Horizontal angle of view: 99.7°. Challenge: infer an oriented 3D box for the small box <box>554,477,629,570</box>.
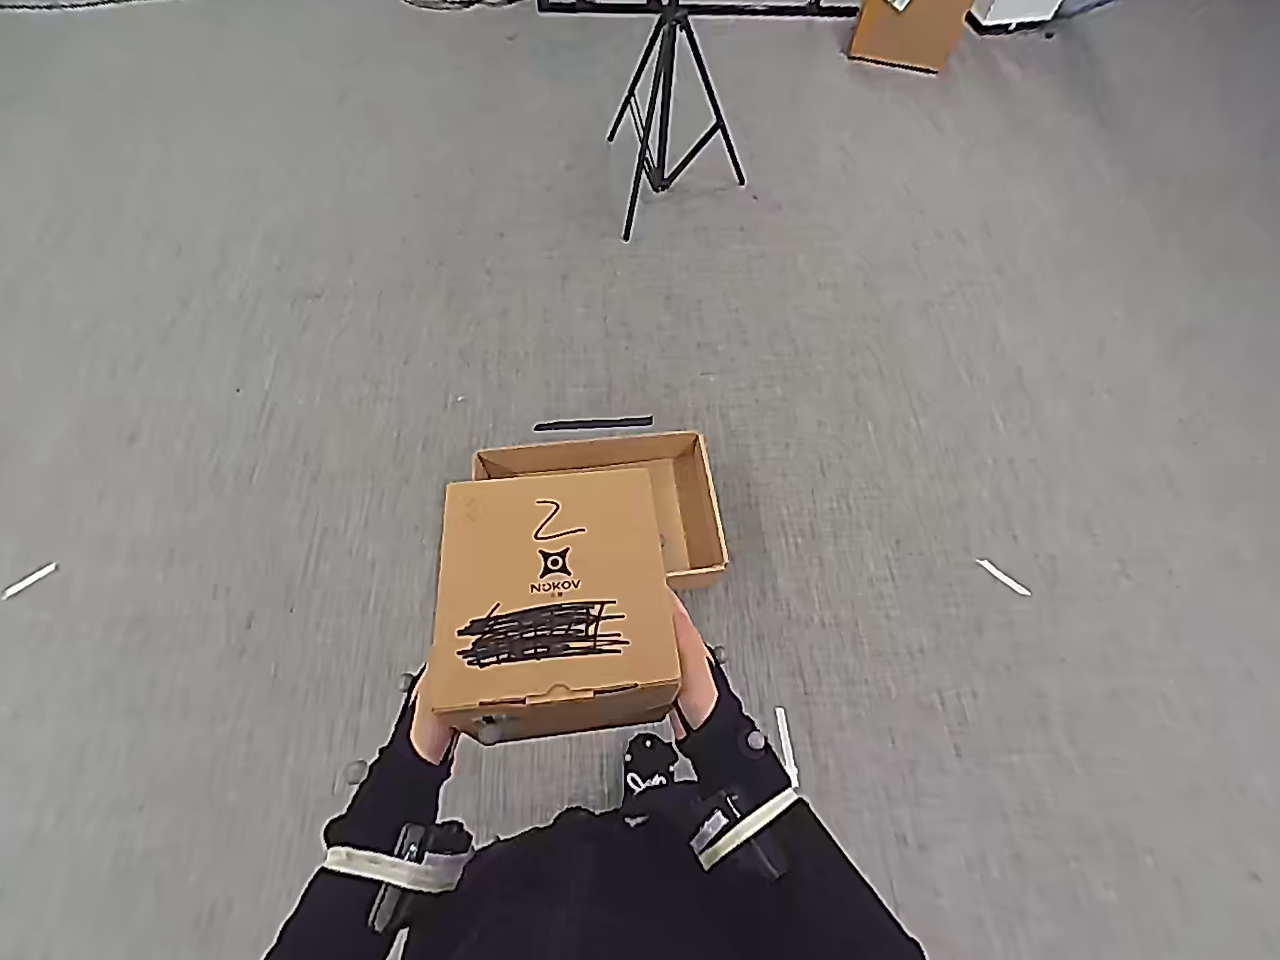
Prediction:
[{"bbox_3d":[-0.126,0.117,1.408,0.168,0.176,0.179,-11,66,-7],"label":"small box"}]
